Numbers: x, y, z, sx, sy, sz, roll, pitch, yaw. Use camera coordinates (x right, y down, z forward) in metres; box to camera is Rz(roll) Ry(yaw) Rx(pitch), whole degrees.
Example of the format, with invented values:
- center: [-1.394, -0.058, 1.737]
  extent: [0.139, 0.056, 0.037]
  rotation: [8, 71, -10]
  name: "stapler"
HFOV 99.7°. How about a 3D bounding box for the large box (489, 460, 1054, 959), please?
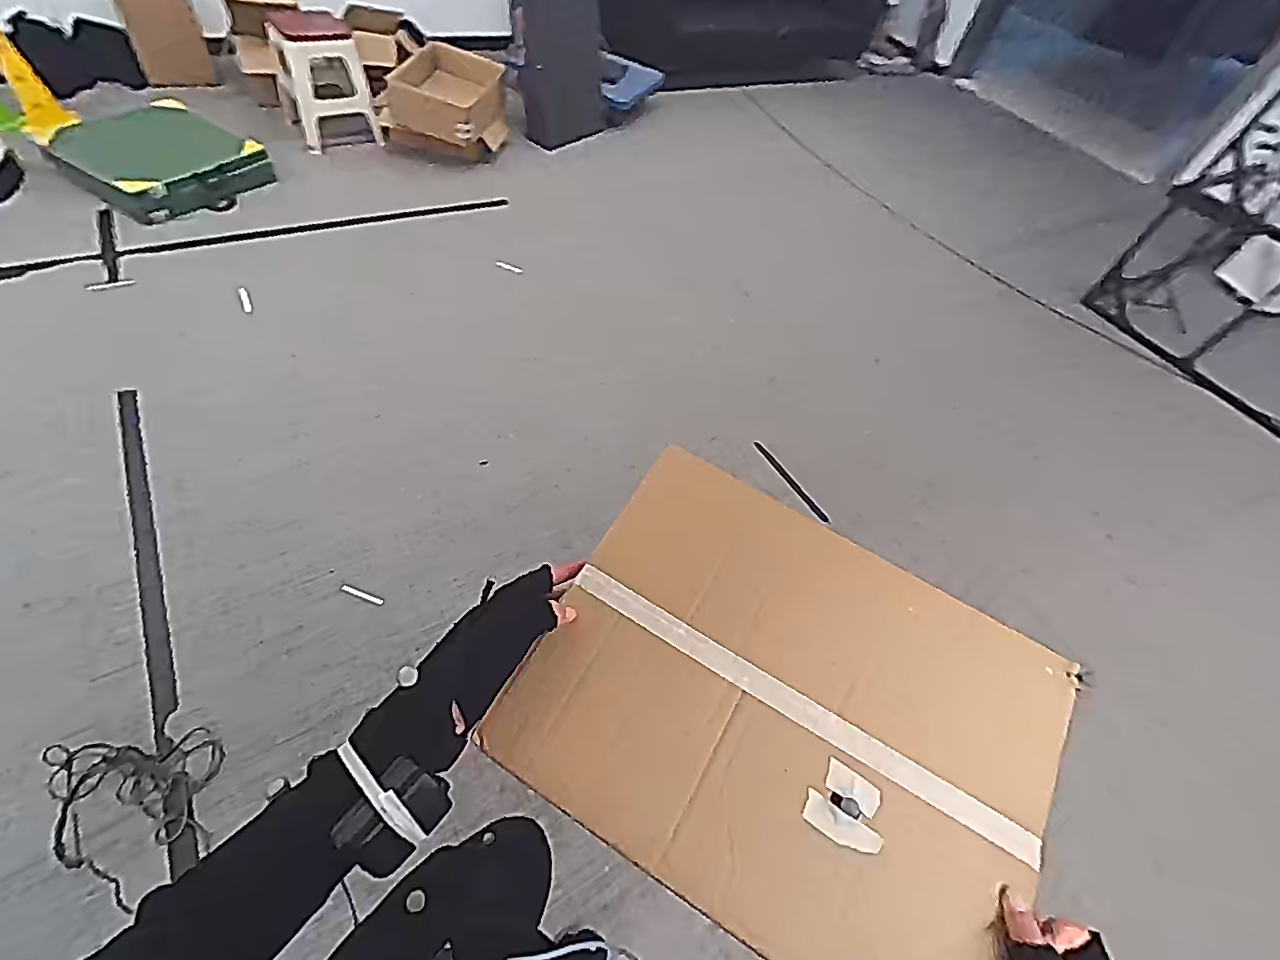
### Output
- center: [0.113, 0.249, 0.588]
  extent: [0.408, 0.320, 0.320]
  rotation: [30, 67, 11]
  name: "large box"
